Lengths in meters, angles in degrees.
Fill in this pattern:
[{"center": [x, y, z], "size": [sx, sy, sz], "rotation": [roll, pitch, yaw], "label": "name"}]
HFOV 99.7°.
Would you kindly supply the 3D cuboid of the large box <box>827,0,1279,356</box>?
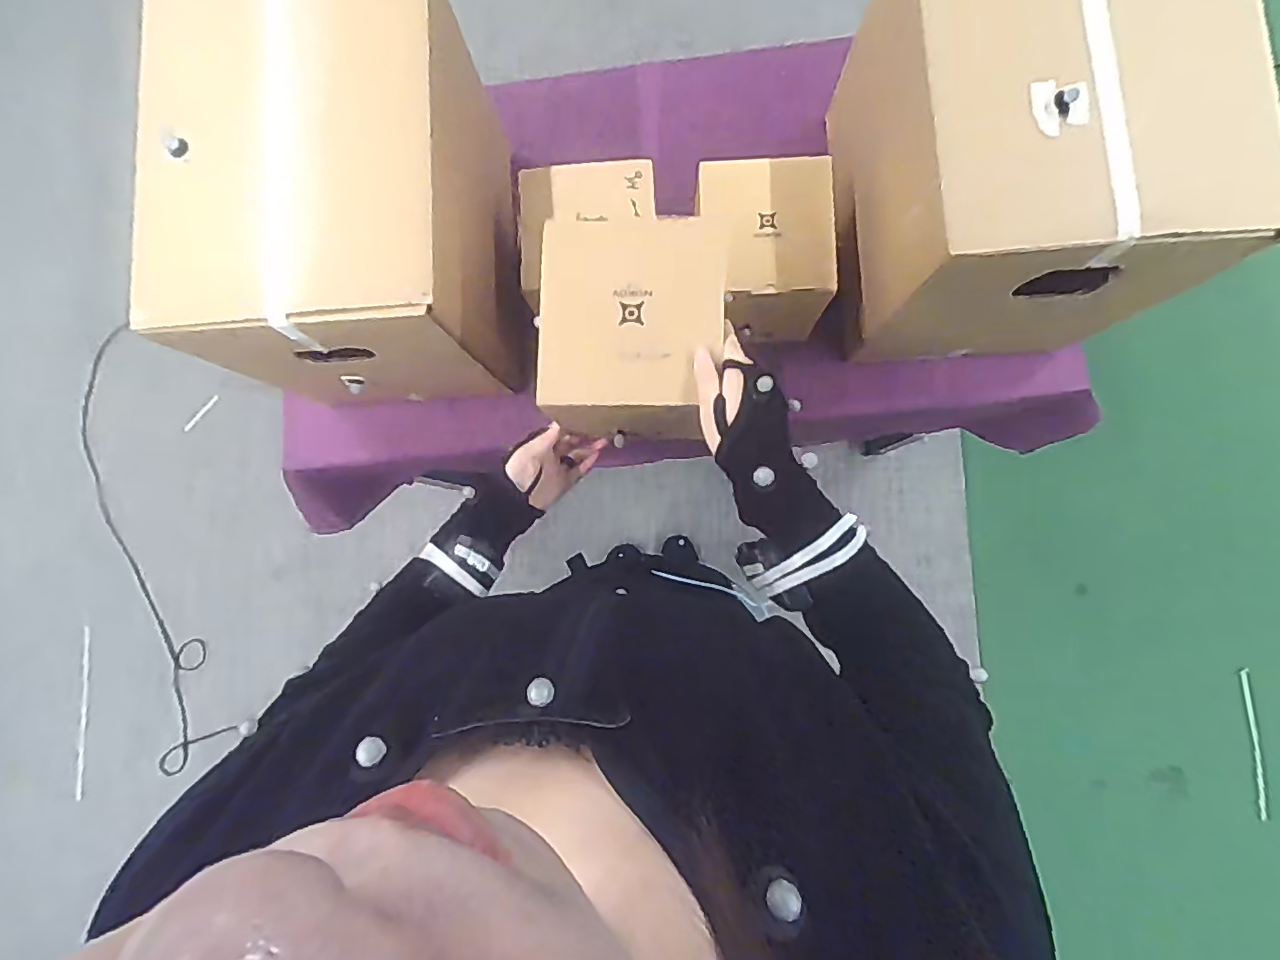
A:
[{"center": [0.447, -0.401, 0.678], "size": [0.320, 0.320, 0.408], "rotation": [-2, 85, 3], "label": "large box"}]
